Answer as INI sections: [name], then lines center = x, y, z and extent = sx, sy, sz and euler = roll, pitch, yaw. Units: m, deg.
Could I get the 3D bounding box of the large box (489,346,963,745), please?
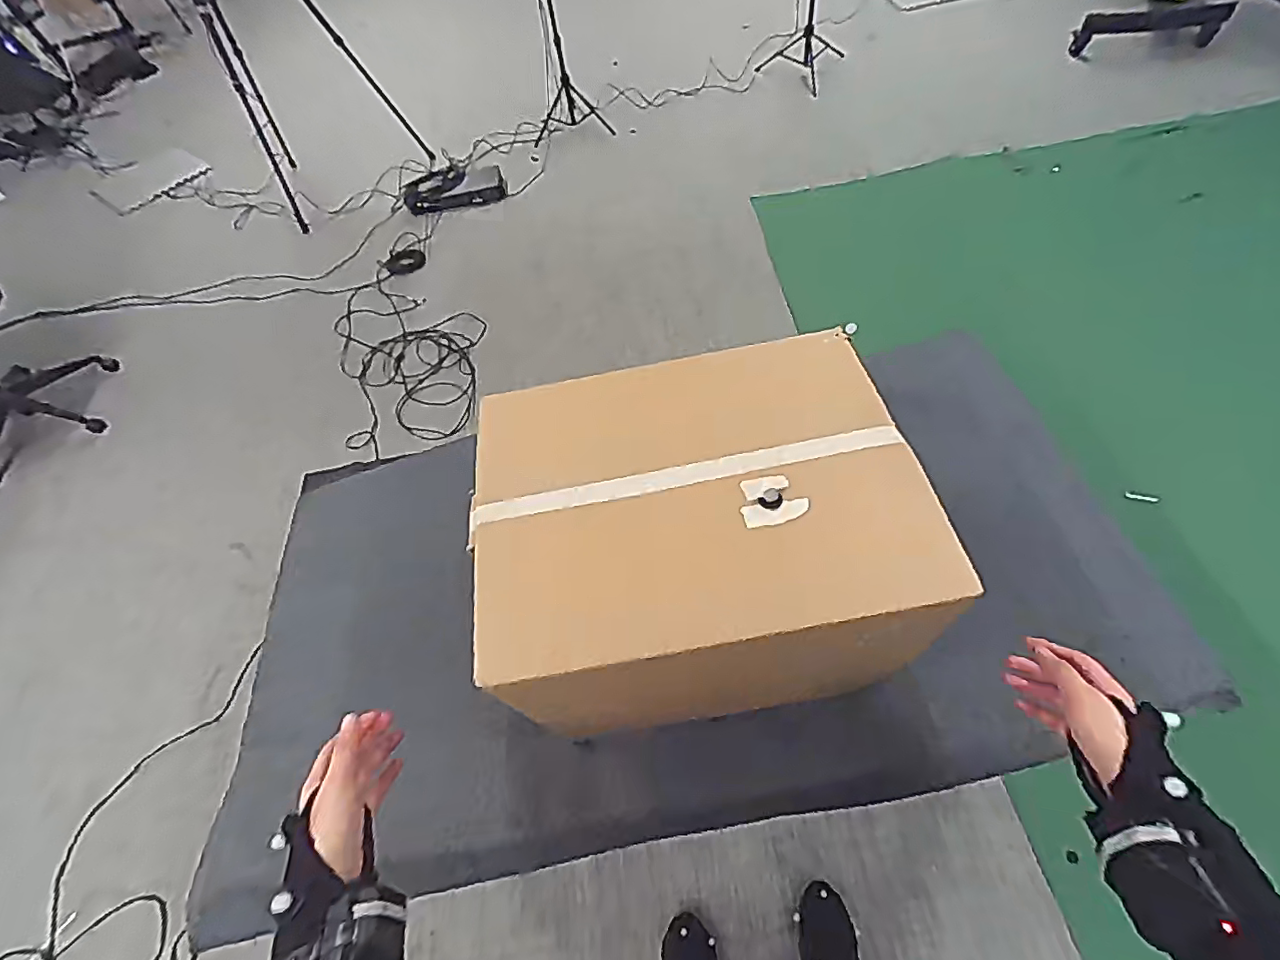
[large box]
center = 0.063, 0.093, 0.644
extent = 0.408, 0.320, 0.320
euler = -11, 56, 1
